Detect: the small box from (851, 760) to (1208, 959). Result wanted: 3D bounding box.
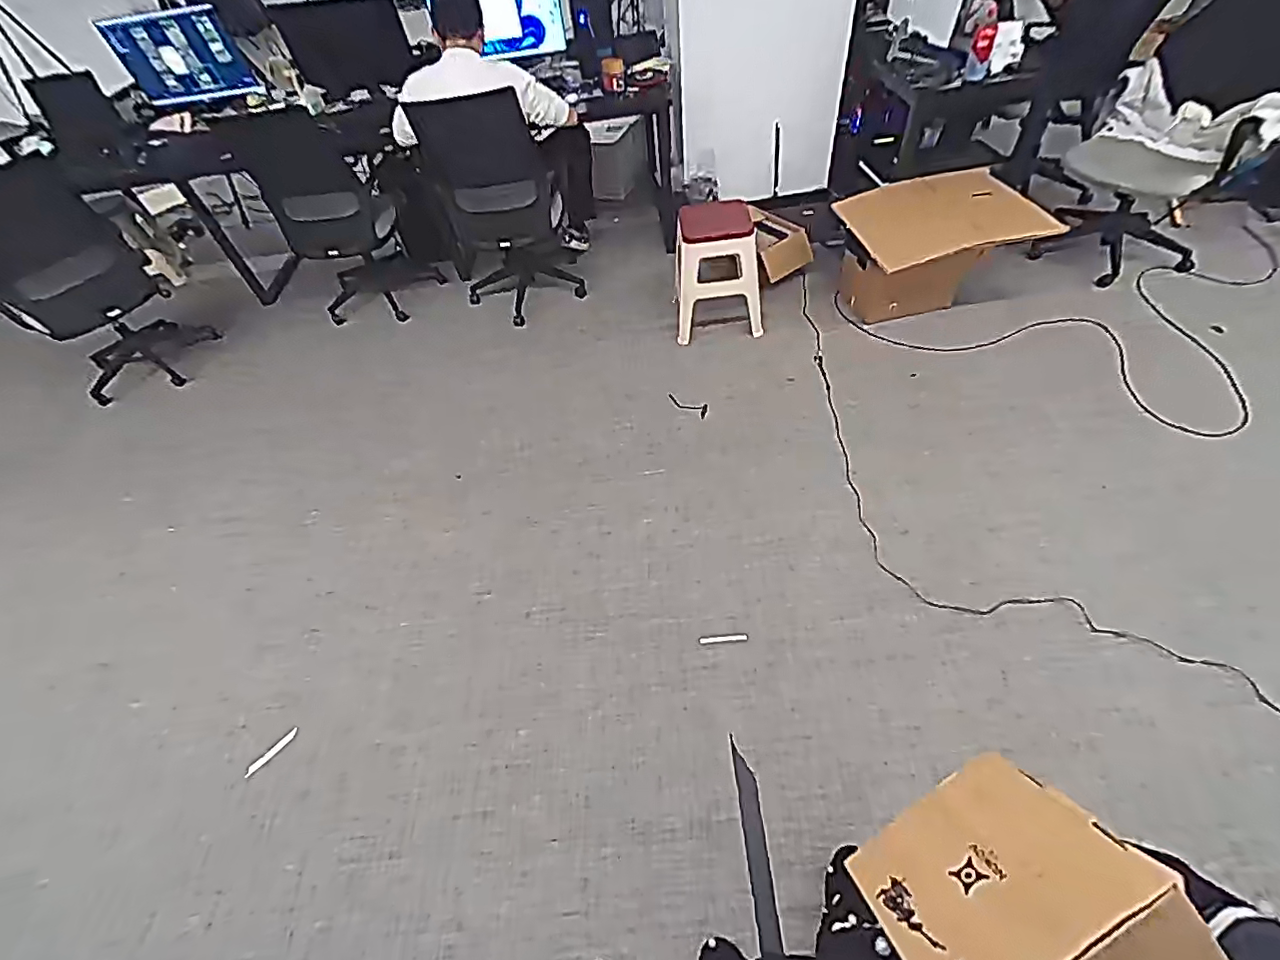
[{"bbox_3d":[0.316,0.380,0.434,0.179,0.168,0.176,-34,92,-2],"label":"small box"}]
